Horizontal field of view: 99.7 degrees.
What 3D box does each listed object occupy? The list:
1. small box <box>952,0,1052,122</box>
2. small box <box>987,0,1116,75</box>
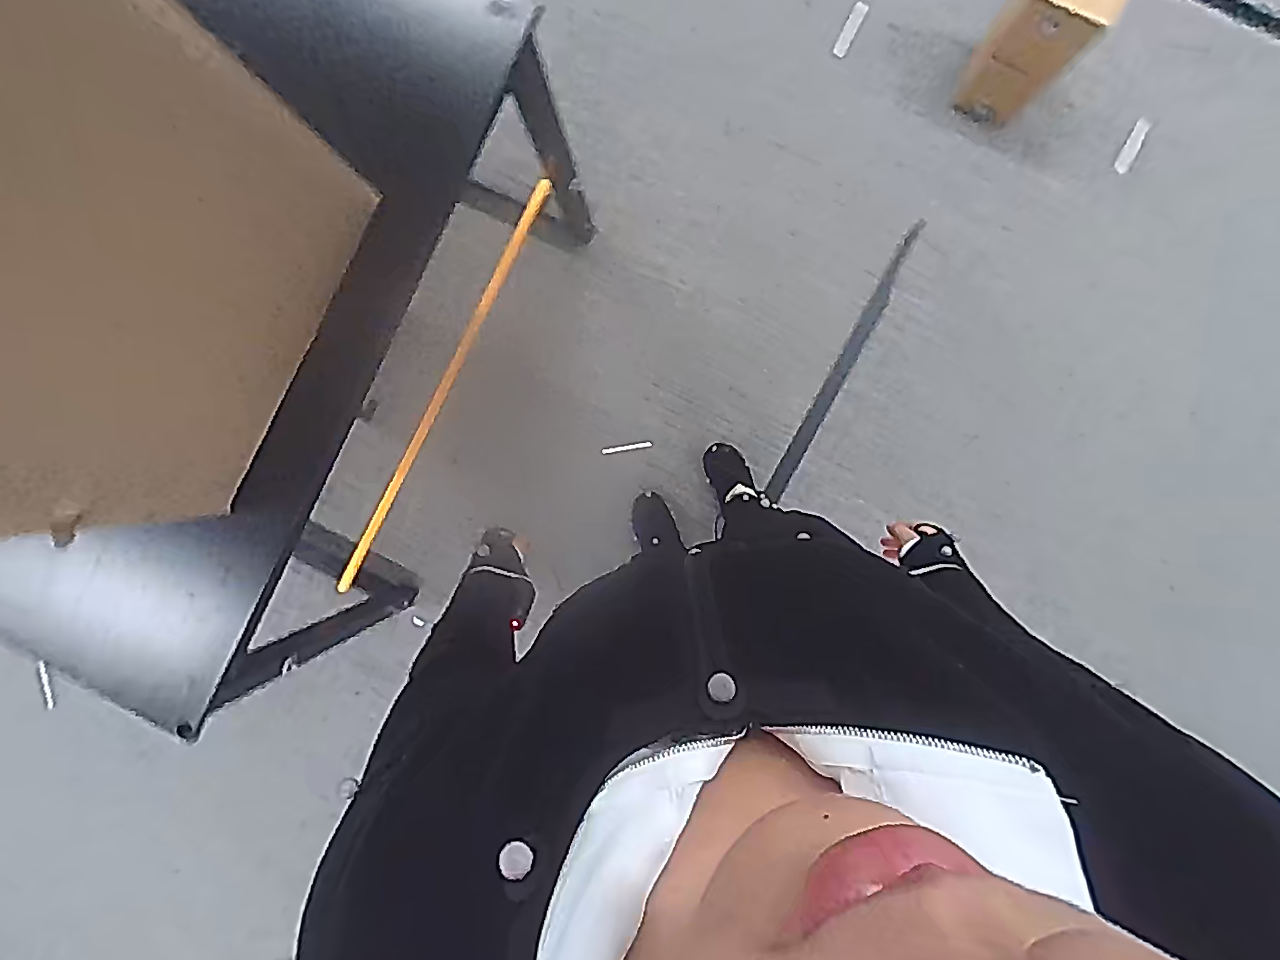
[{"bbox_3d":[0.920,-1.048,1.347,0.168,0.176,0.179,22,94,3],"label":"small box"},{"bbox_3d":[0.912,-1.044,1.183,0.179,0.176,0.168,26,93,2],"label":"small box"}]
